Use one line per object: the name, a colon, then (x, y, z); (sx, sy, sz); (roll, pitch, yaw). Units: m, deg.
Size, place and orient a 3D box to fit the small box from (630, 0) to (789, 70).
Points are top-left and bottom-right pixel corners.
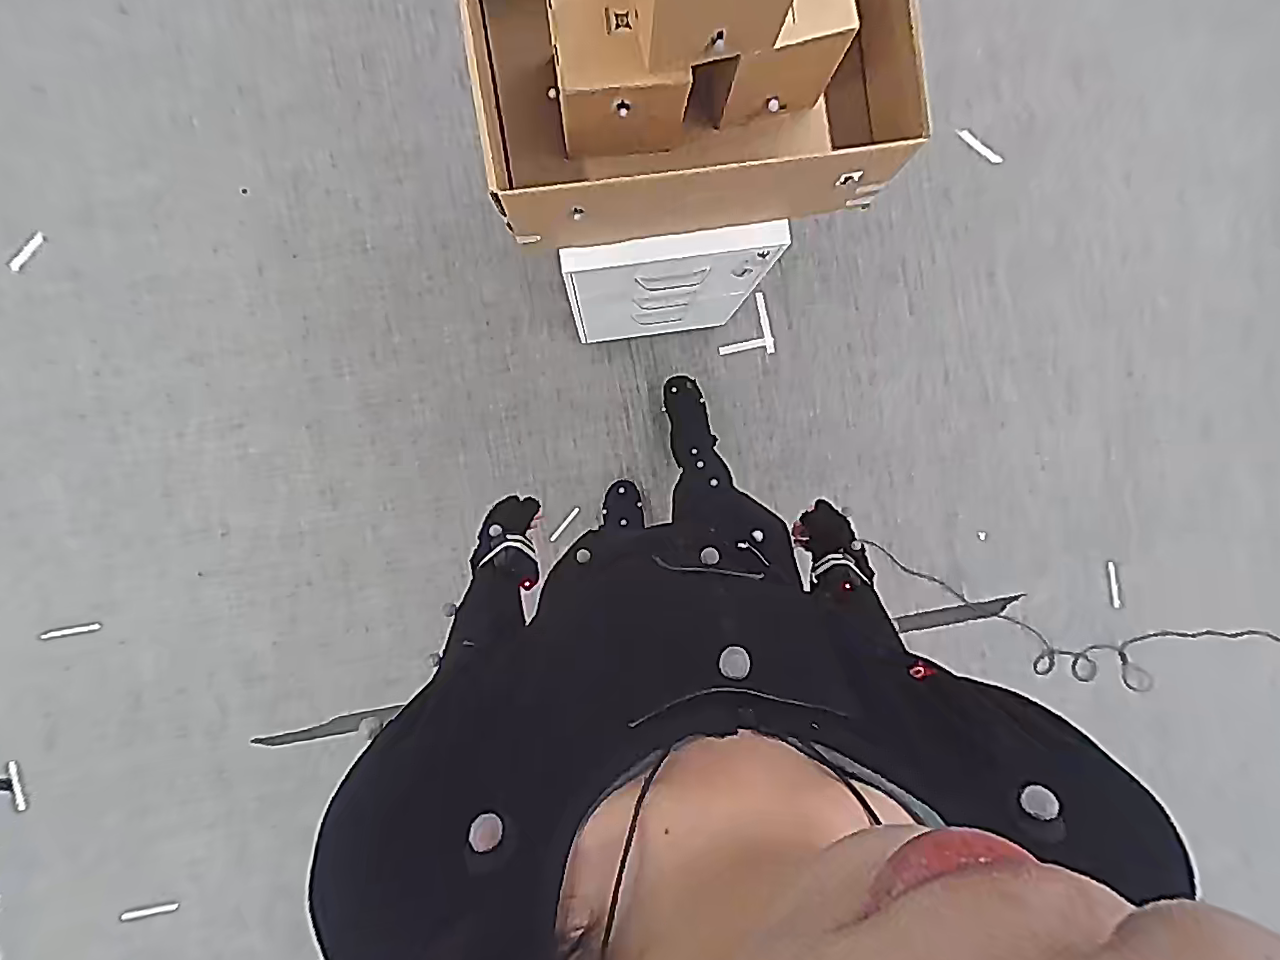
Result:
small box: (0.079, -0.620, 0.617); (0.179, 0.176, 0.168); (-15, 94, -2)
